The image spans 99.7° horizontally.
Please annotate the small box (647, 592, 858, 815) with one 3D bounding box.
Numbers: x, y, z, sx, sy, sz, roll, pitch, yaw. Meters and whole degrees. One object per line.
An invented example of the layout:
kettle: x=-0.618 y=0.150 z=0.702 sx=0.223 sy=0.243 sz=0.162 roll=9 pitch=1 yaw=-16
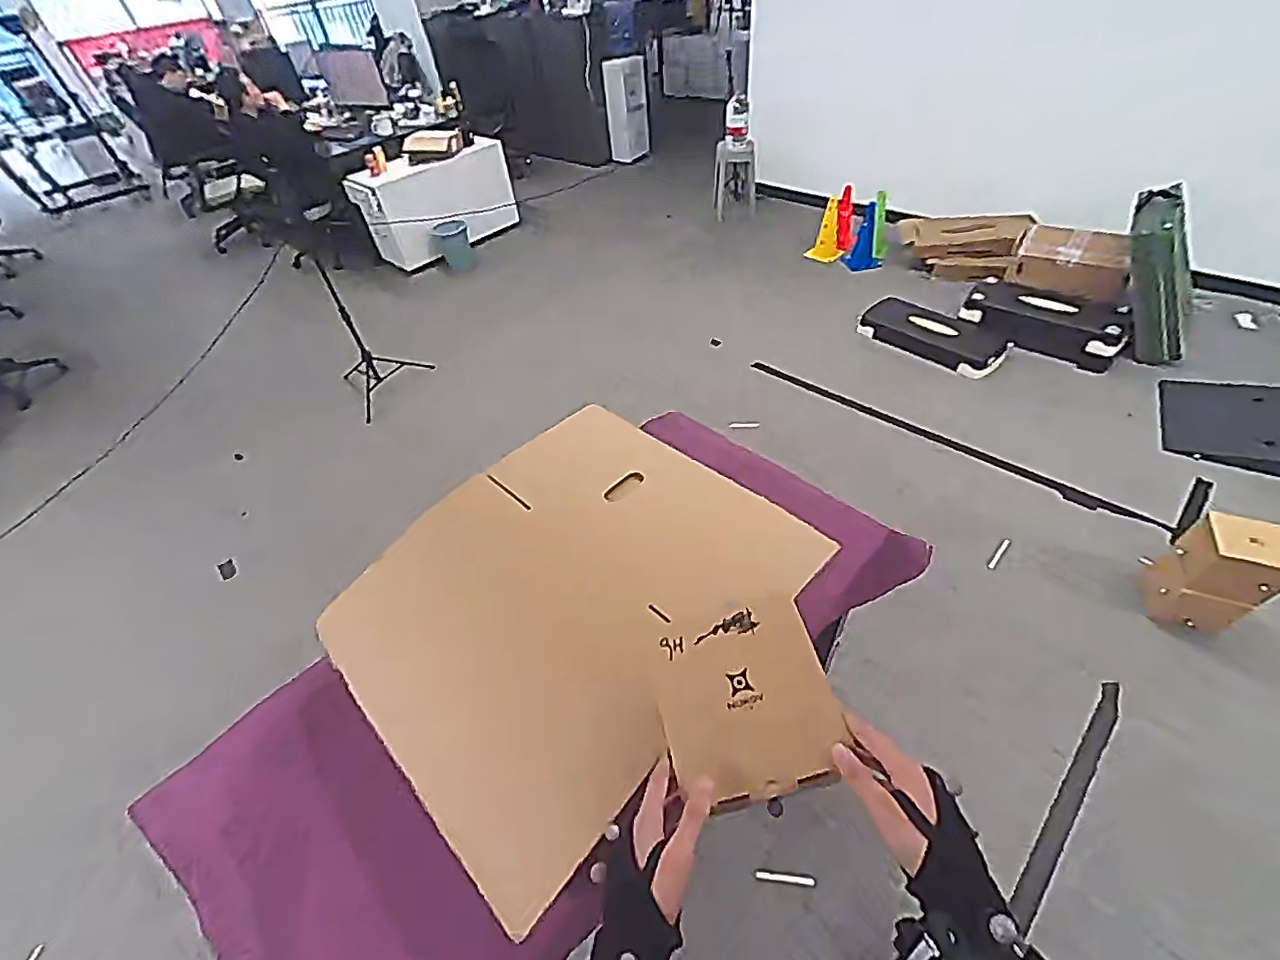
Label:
small box: x=0.118 y=0.252 z=0.598 sx=0.168 sy=0.176 sz=0.179 roll=-17 pitch=56 yaw=2
